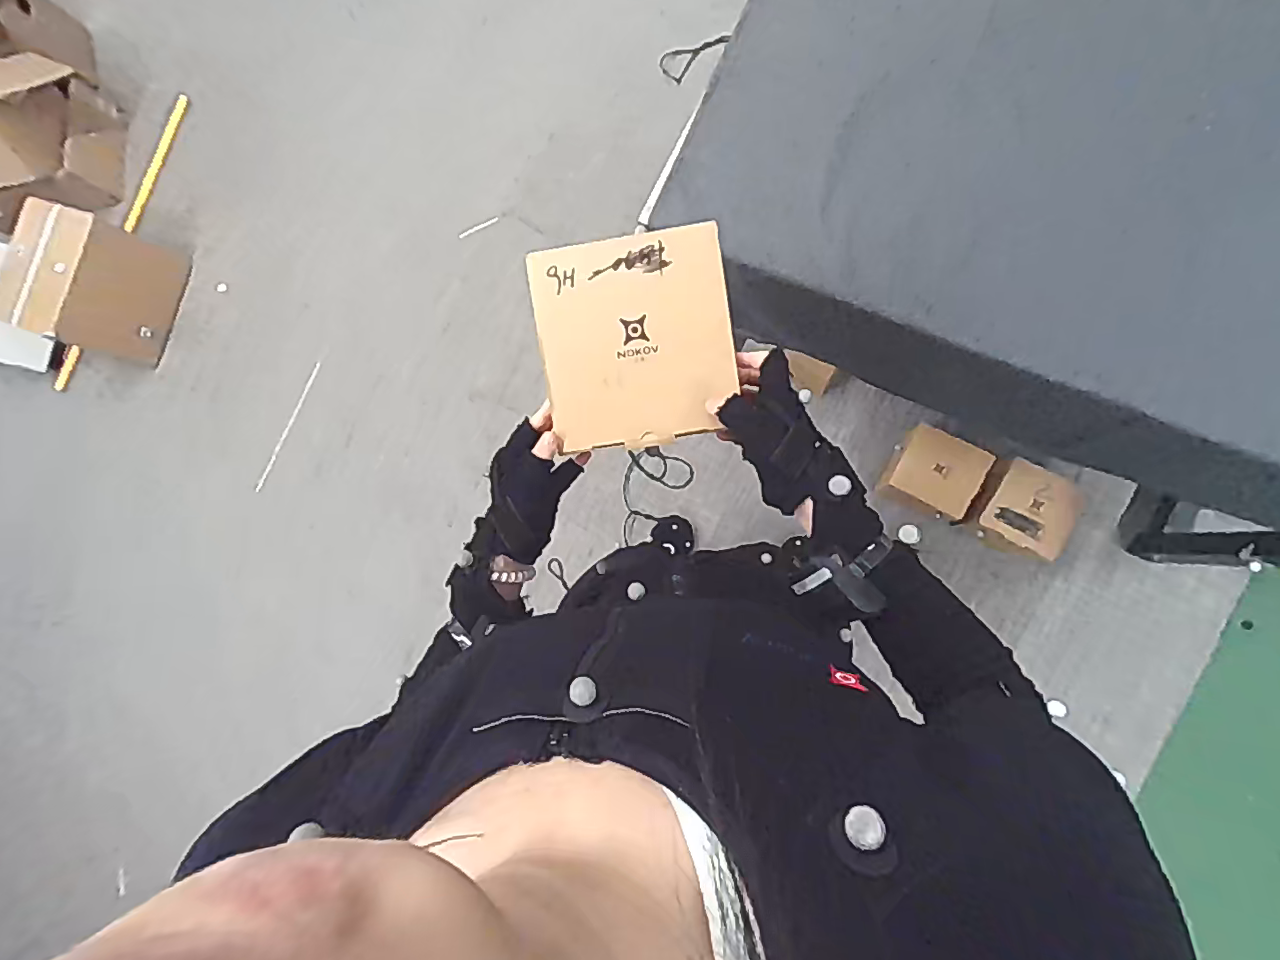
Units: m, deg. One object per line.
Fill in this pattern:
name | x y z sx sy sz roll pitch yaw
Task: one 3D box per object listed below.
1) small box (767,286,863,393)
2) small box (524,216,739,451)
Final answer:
small box | 0.437 -0.353 1.386 0.168 0.176 0.179 35 91 14
small box | -0.003 -0.130 0.529 0.168 0.176 0.179 -8 96 2
